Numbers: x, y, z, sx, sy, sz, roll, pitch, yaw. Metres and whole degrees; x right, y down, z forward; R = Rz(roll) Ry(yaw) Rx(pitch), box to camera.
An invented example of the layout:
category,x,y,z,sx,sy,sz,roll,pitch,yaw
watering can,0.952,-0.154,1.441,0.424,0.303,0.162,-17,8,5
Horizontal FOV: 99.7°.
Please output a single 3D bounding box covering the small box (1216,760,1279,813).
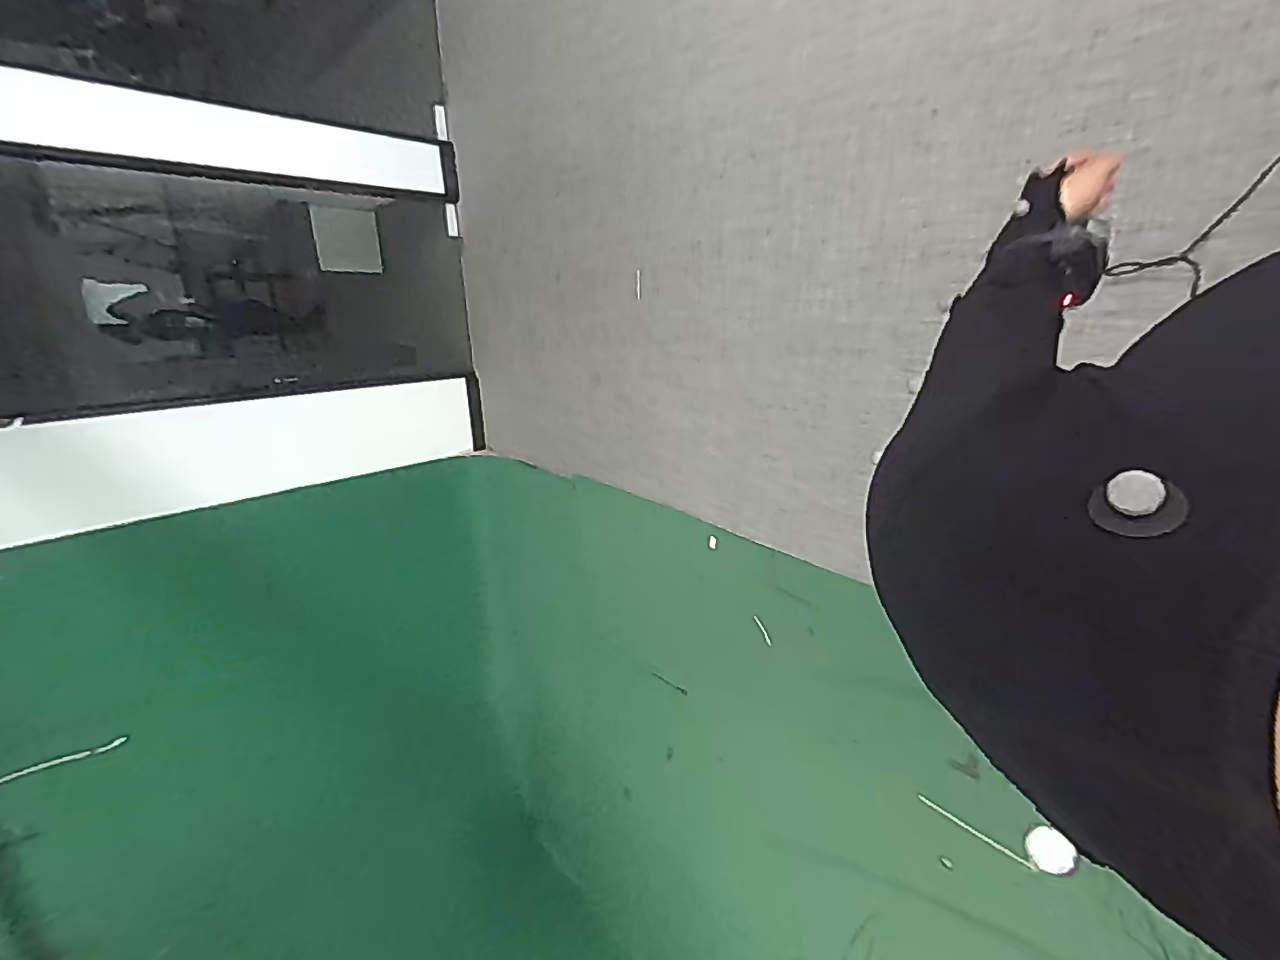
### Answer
category,x,y,z,sx,sy,sz,roll,pitch,yaw
small box,1.252,0.681,1.031,0.168,0.176,0.179,37,128,35
